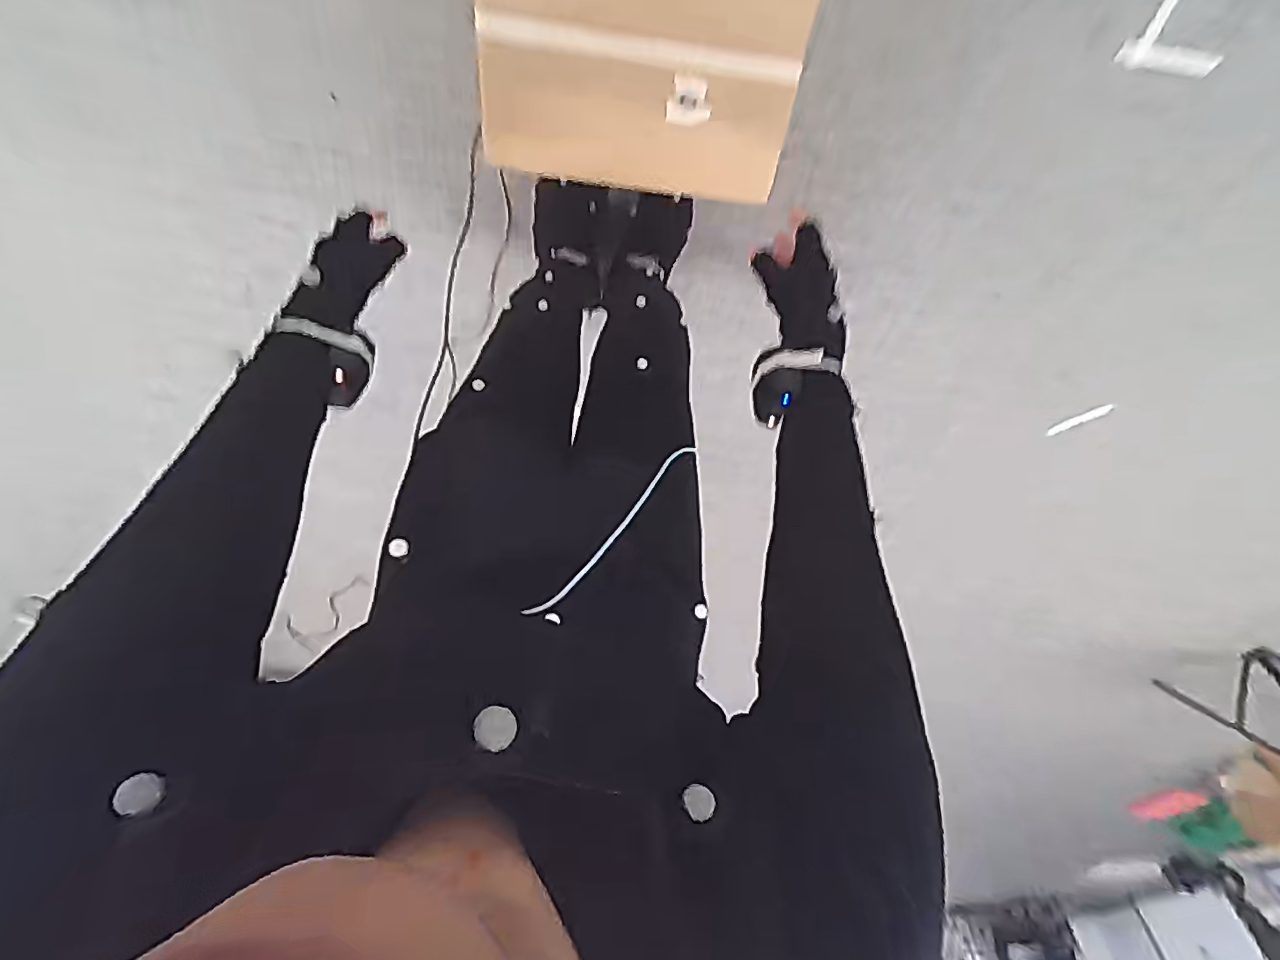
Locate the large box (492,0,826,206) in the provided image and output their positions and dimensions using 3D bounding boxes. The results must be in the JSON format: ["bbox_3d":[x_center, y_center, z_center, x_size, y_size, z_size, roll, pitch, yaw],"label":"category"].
[{"bbox_3d":[0.013,-0.632,0.792,0.408,0.320,0.320,5,133,-6],"label":"large box"}]
